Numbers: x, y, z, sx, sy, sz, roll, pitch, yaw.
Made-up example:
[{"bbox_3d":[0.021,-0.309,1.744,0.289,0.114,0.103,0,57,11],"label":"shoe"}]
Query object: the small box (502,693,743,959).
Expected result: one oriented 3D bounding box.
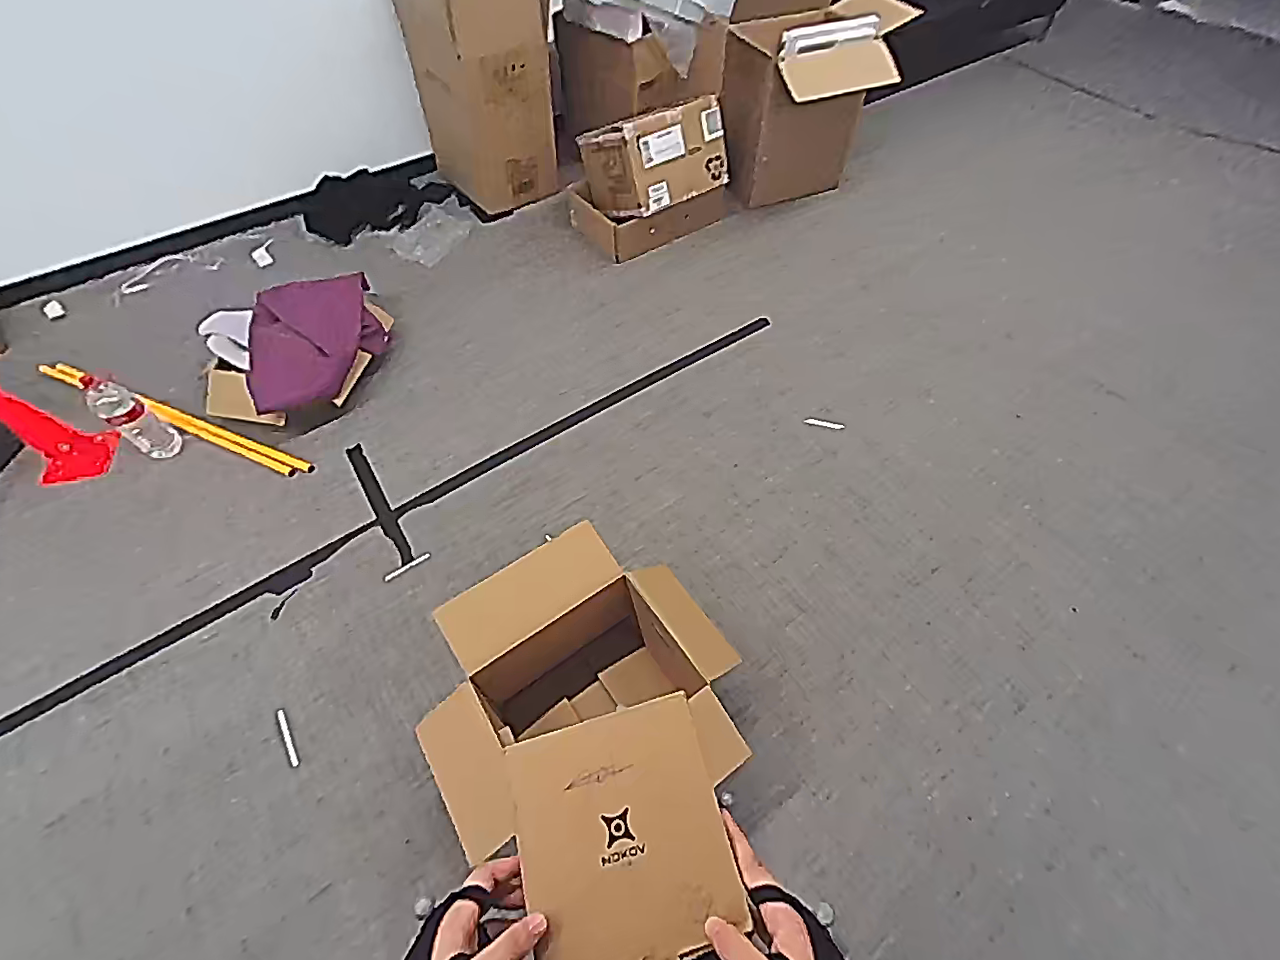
[{"bbox_3d":[-0.013,0.320,0.510,0.168,0.176,0.179,-17,62,-3],"label":"small box"}]
